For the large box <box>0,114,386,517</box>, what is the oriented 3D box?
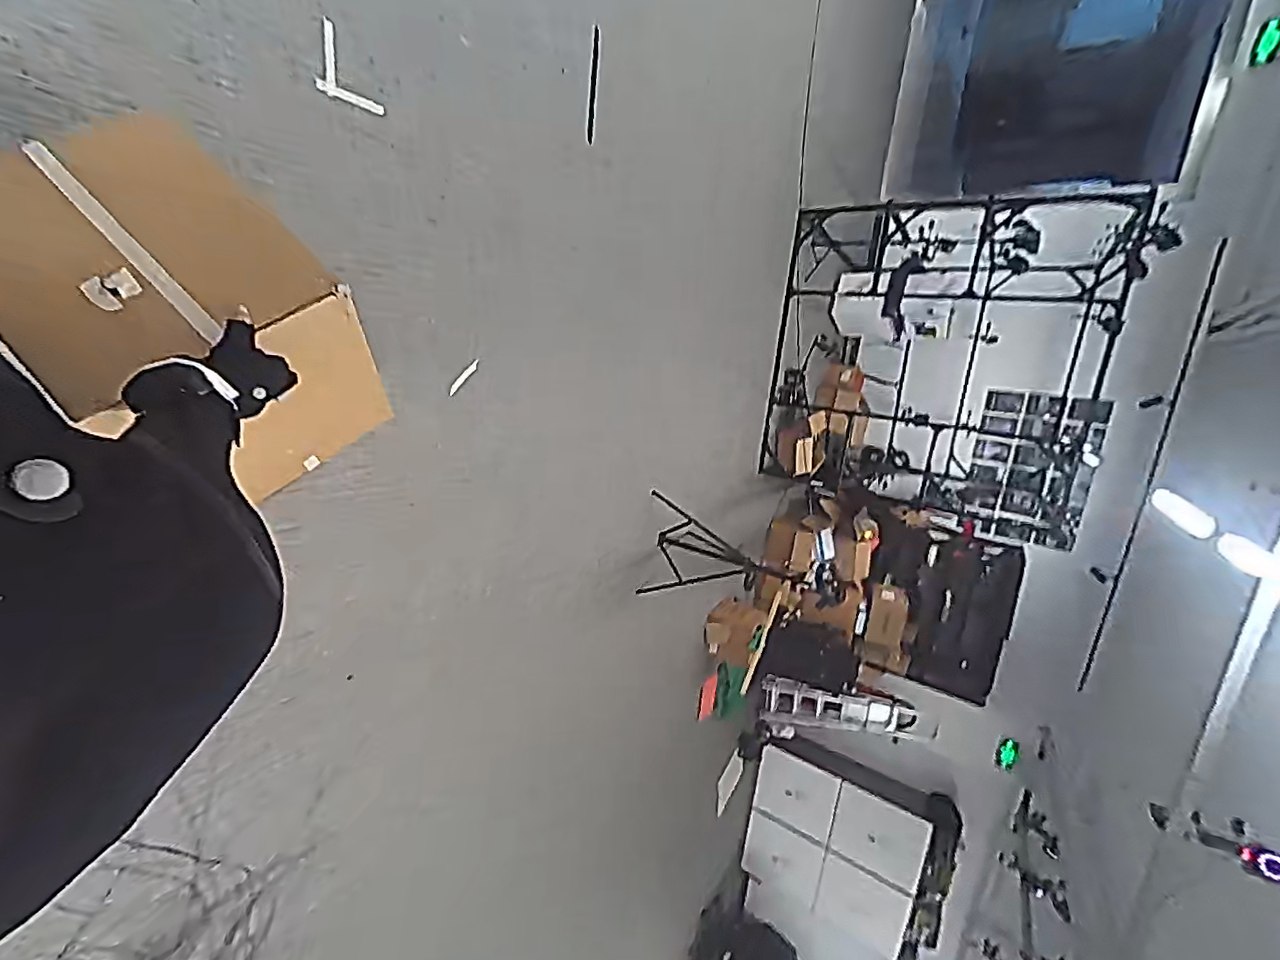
[{"bbox_3d":[-0.654,-0.222,0.787,0.320,0.408,0.320,-44,172,-25],"label":"large box"}]
